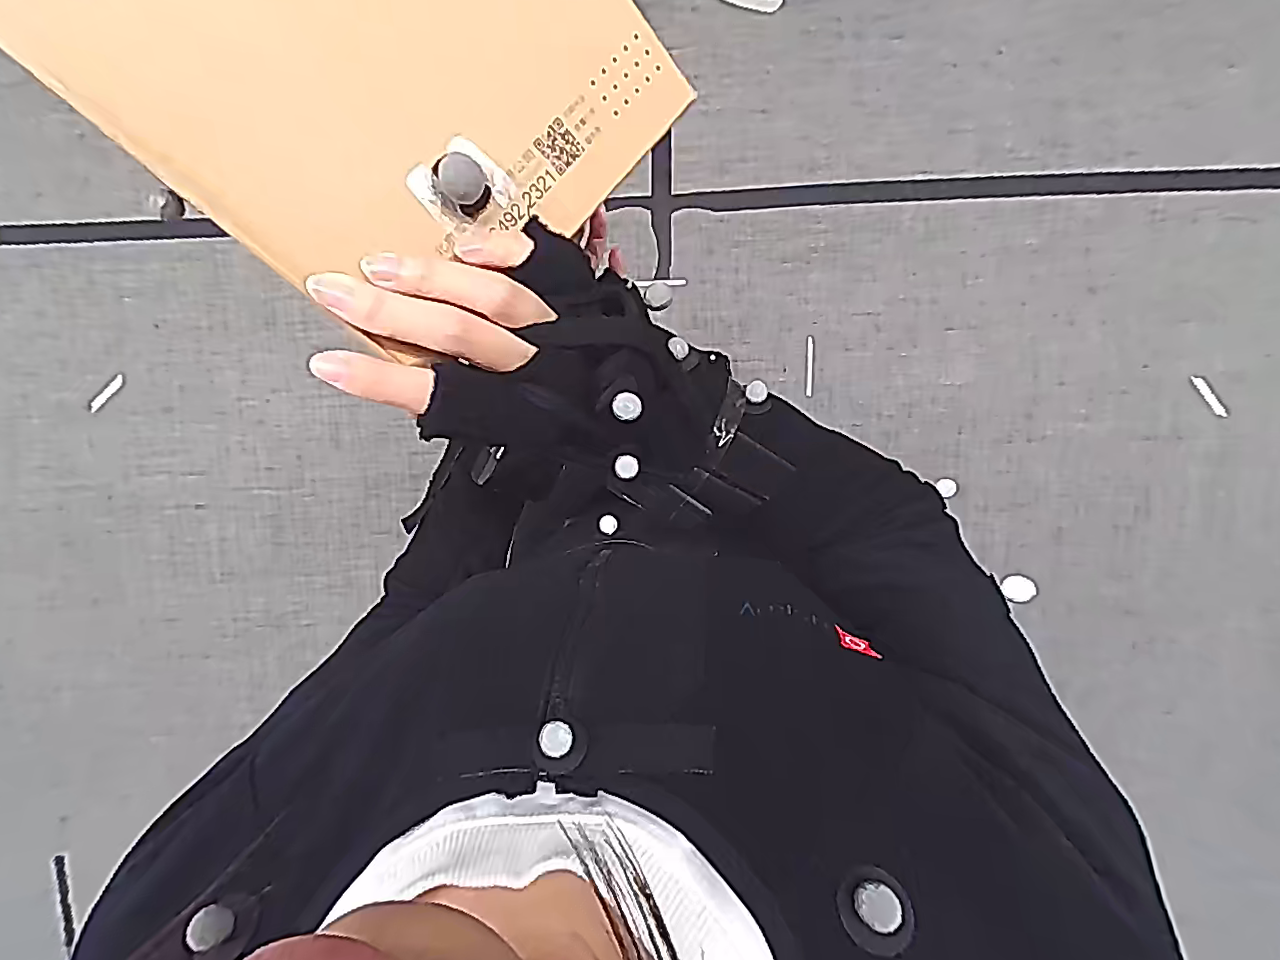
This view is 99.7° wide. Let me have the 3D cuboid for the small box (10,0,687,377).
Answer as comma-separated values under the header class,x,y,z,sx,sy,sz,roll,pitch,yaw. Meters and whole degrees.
class,x,y,z,sx,sy,sz,roll,pitch,yaw
small box,-0.110,-0.168,0.275,0.176,0.179,0.168,42,84,-25
